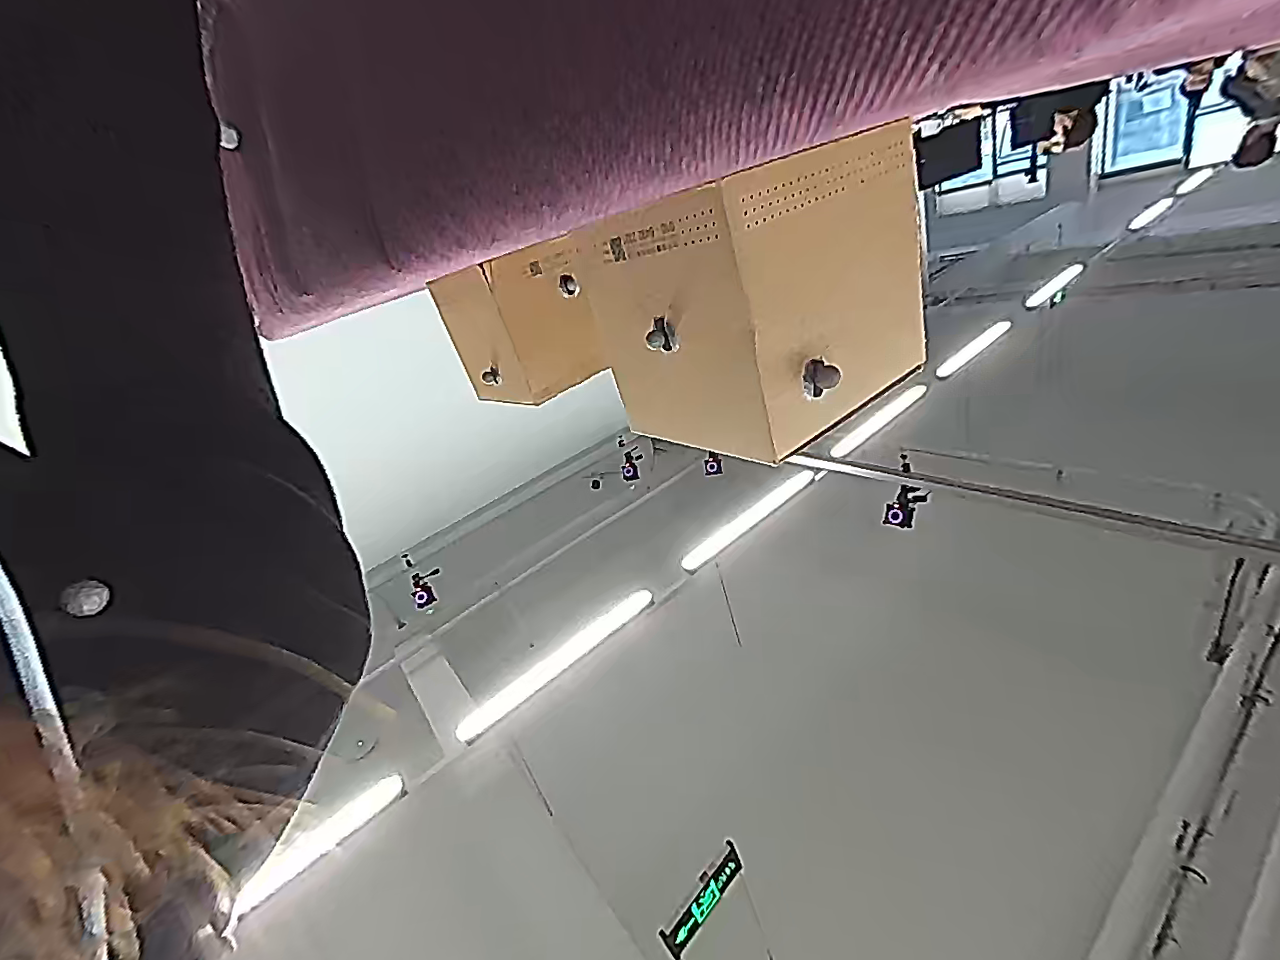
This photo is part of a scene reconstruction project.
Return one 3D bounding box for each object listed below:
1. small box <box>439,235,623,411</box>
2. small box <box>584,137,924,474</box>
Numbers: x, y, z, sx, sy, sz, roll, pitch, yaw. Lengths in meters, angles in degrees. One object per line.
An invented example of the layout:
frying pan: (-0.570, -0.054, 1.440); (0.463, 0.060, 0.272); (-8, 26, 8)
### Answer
small box: (-0.135, -0.204, 0.703); (0.168, 0.176, 0.179); (-34, -151, -29)
small box: (0.084, -0.129, 0.408); (0.179, 0.176, 0.168); (-32, -151, -25)
